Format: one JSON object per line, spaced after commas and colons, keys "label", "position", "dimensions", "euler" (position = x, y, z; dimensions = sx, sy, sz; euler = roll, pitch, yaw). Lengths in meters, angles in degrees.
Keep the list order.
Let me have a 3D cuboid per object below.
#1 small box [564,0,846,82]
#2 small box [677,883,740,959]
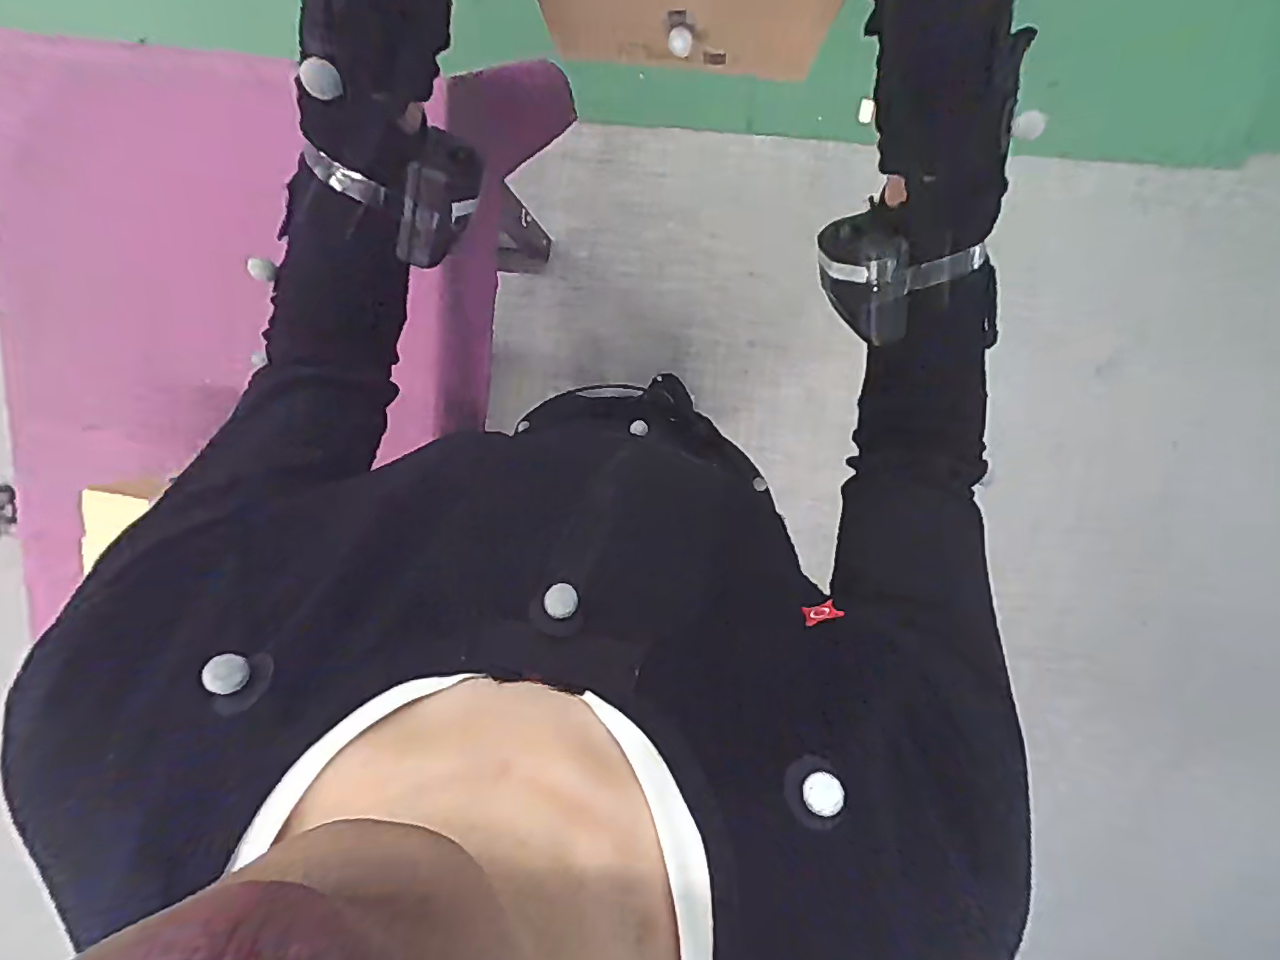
{"label": "small box", "position": [0.038, -0.340, 0.261], "dimensions": [0.168, 0.176, 0.179], "euler": [8, 104, 1]}
{"label": "small box", "position": [0.202, 1.361, 1.631], "dimensions": [0.168, 0.176, 0.179], "euler": [3, 101, 2]}
